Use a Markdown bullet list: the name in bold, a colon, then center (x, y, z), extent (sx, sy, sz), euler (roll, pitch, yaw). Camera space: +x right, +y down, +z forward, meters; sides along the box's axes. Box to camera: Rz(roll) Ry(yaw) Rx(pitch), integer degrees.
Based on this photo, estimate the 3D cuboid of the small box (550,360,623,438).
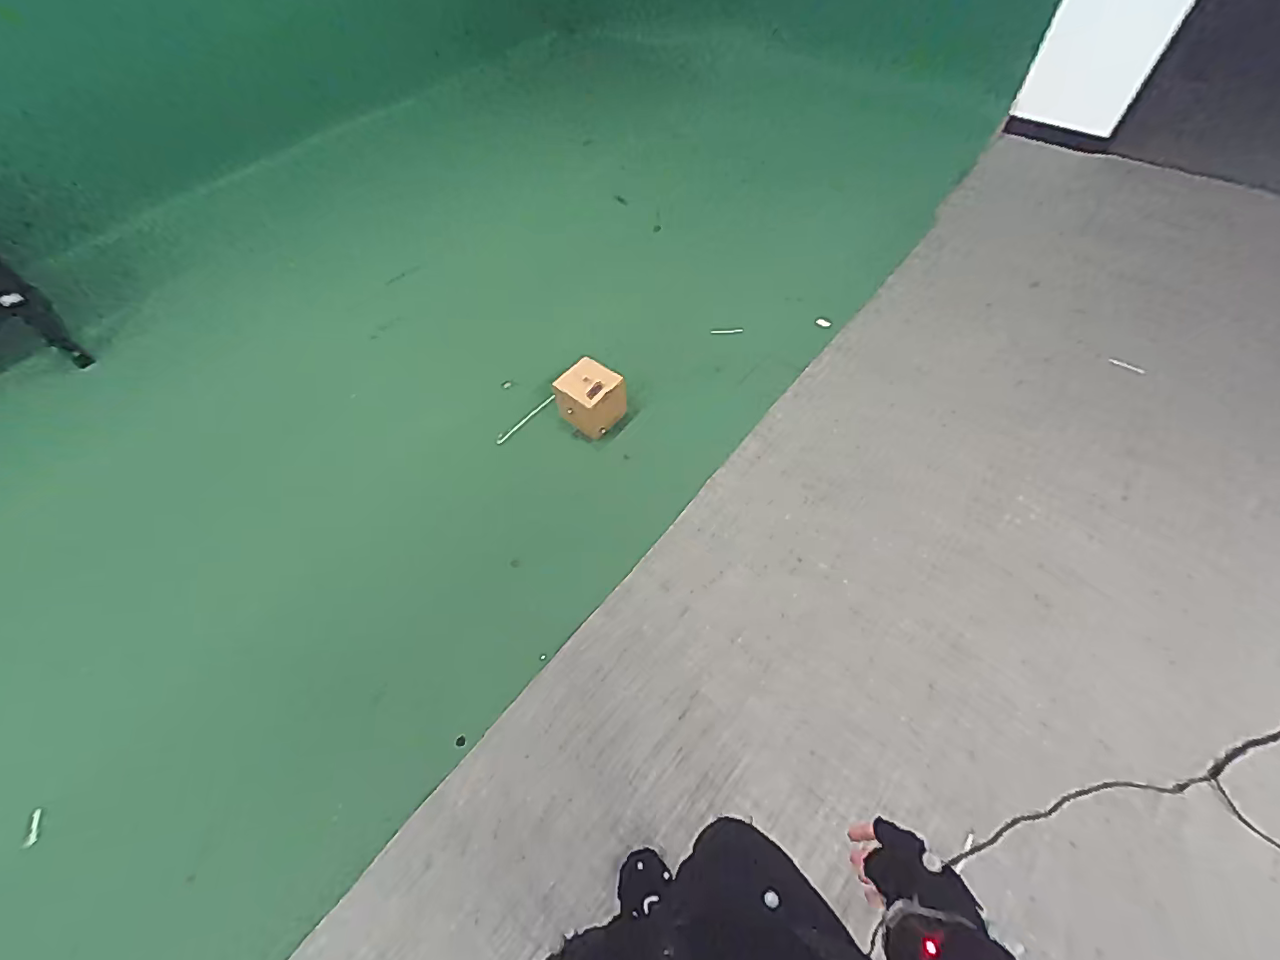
- **small box**: center (-0.174, -0.266, 1.825), extent (0.179, 0.176, 0.168), euler (34, 64, 23)
